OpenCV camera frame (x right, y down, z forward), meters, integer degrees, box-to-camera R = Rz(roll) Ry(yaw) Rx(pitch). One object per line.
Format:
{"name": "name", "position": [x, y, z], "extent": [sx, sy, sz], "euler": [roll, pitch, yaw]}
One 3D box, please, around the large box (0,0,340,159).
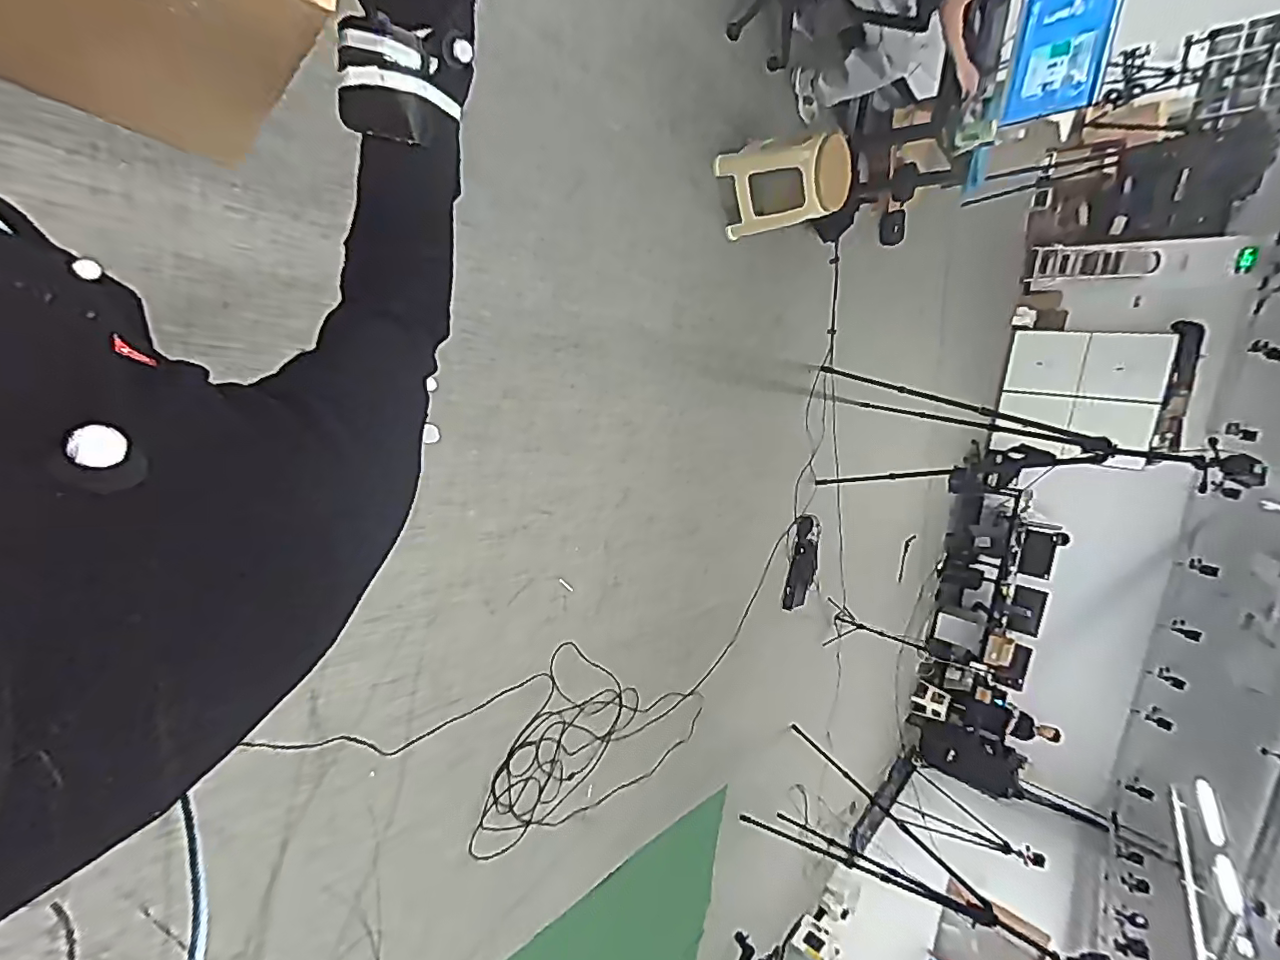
{"name": "large box", "position": [-0.417, -0.468, 0.300], "extent": [0.408, 0.320, 0.320], "euler": [6, 91, -45]}
